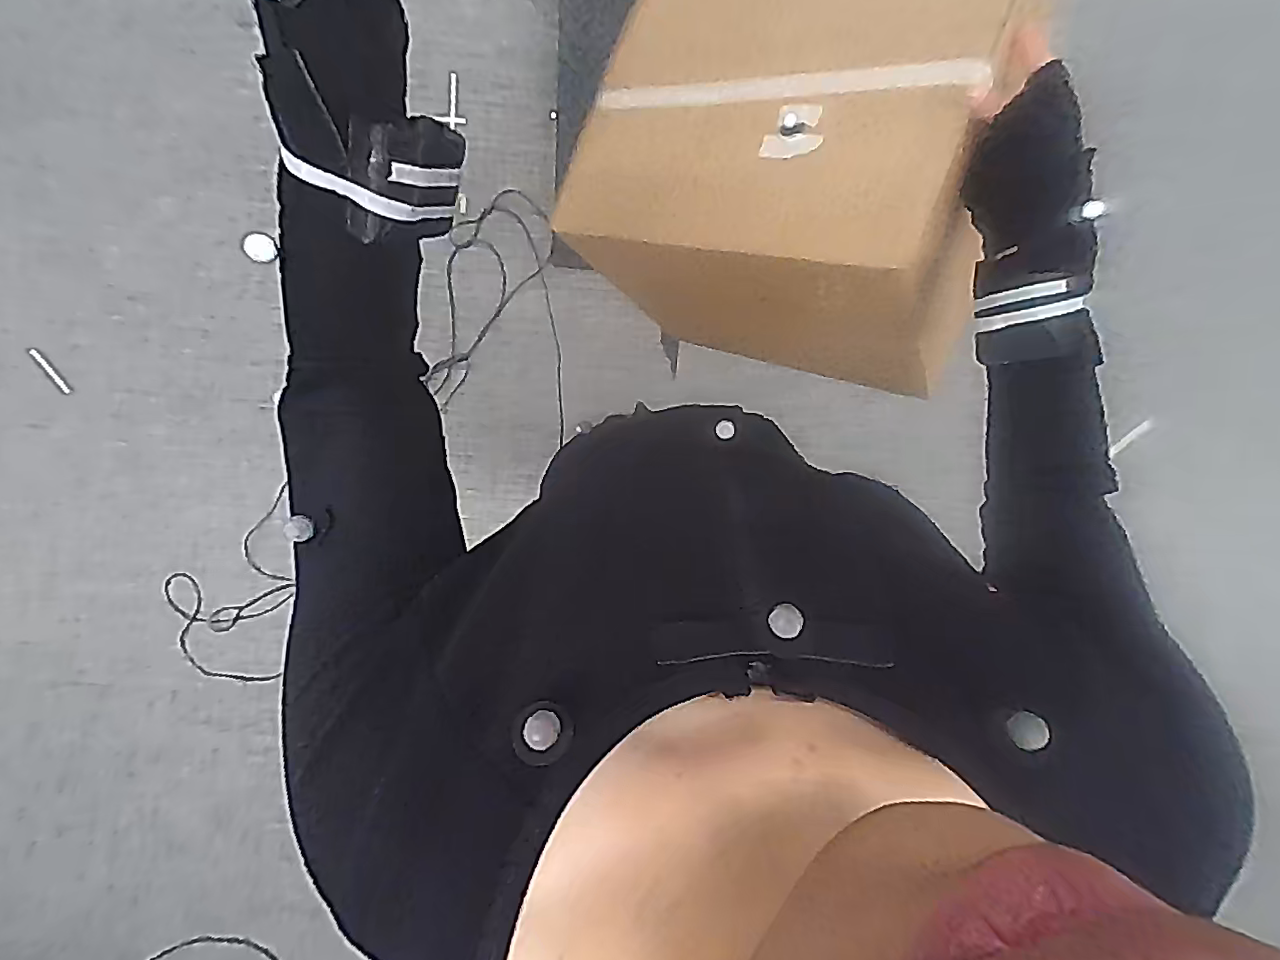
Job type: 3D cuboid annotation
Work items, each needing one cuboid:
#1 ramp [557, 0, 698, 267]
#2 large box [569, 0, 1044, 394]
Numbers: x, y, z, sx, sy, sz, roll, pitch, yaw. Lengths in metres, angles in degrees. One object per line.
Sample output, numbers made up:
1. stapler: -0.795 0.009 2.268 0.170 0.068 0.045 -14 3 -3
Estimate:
1. ramp: 0.056 -1.035 1.296 0.509 0.206 0.991 2 96 -3
2. large box: 0.197 -0.340 0.668 0.408 0.320 0.320 25 91 35
